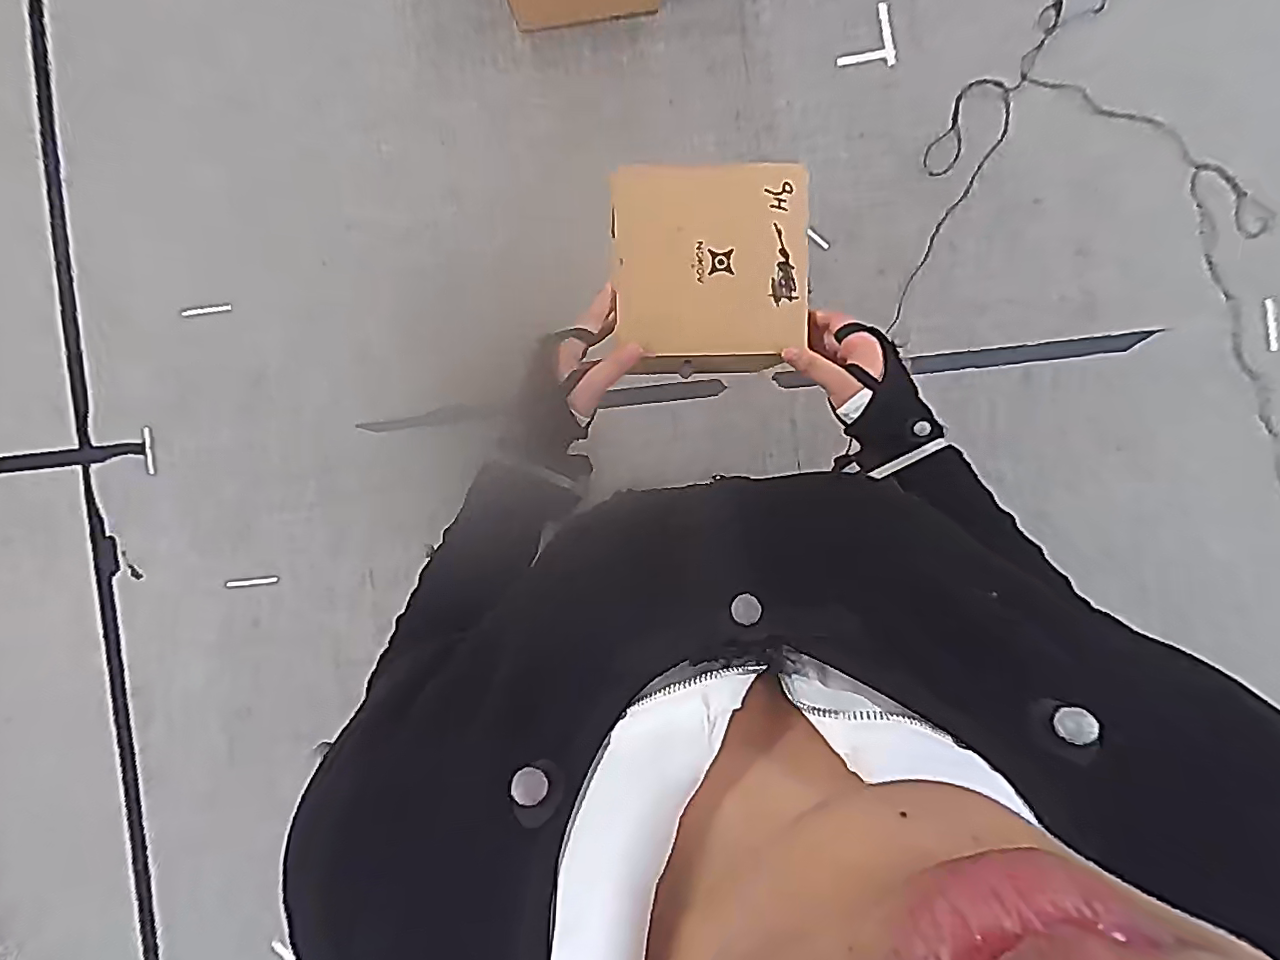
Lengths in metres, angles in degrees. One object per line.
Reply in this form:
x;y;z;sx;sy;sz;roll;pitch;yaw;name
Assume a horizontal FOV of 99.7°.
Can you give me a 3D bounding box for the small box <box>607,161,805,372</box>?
0.058;-0.204;0.560;0.179;0.176;0.168;-2;95;-2;small box
